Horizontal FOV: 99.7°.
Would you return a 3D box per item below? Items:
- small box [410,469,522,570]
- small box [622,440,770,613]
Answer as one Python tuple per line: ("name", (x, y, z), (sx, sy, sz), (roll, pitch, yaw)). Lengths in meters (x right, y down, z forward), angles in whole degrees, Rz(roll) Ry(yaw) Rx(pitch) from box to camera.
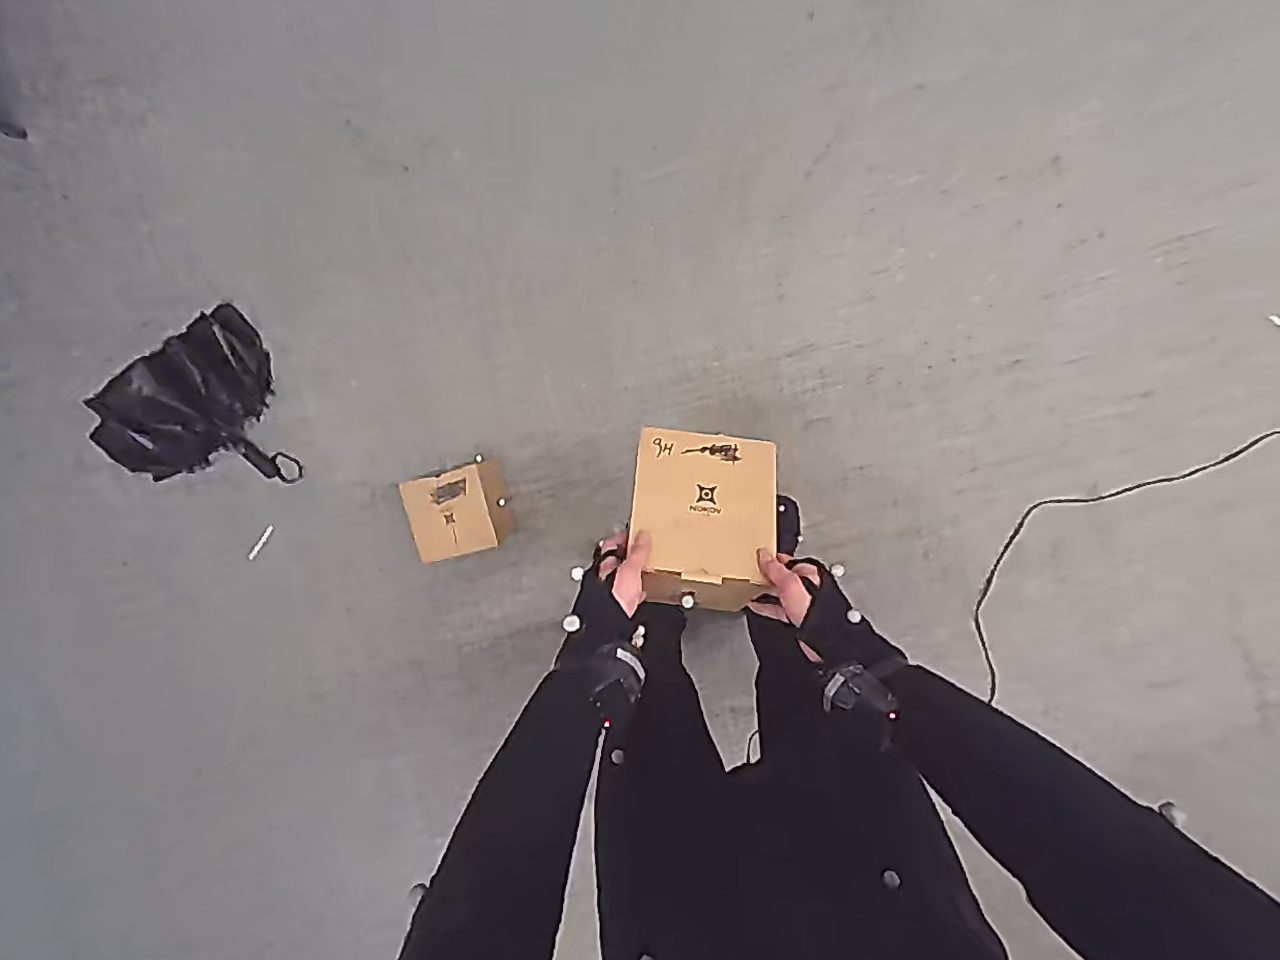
("small box", (-0.376, 0.078, 1.200), (0.168, 0.176, 0.179), (-14, 97, 3))
("small box", (0.066, 0.069, 0.704), (0.168, 0.176, 0.179), (6, 67, -1))
